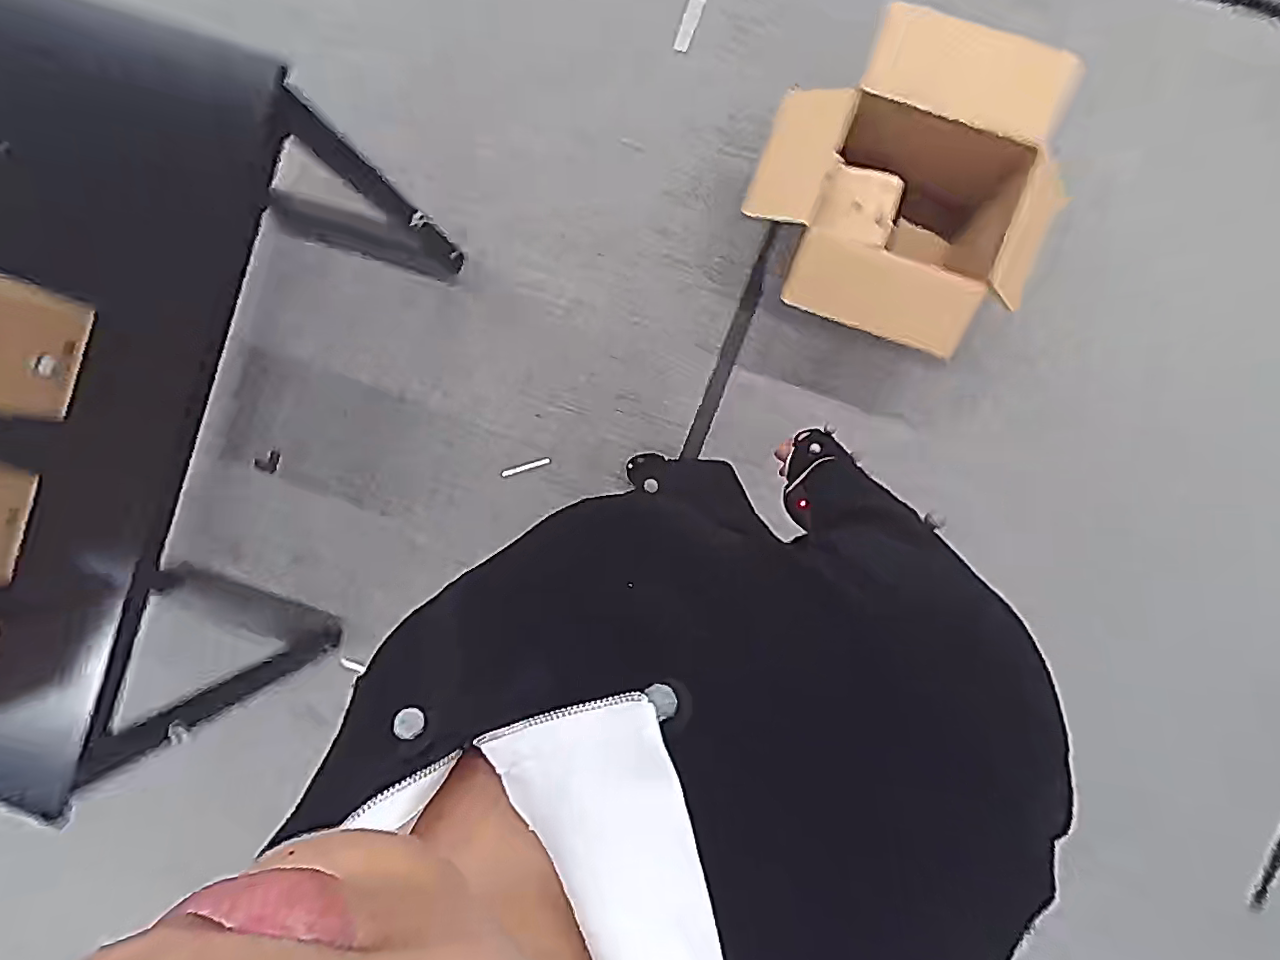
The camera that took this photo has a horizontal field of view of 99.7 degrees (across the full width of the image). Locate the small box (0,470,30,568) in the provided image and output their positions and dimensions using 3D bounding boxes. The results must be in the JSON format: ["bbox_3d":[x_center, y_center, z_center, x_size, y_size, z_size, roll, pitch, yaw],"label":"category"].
[{"bbox_3d":[-1.020,0.054,0.740,0.179,0.176,0.168,20,92,2],"label":"small box"}]

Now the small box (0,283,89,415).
[{"bbox_3d":[-0.923,-0.193,0.726,0.179,0.176,0.168,20,93,2],"label":"small box"}]
